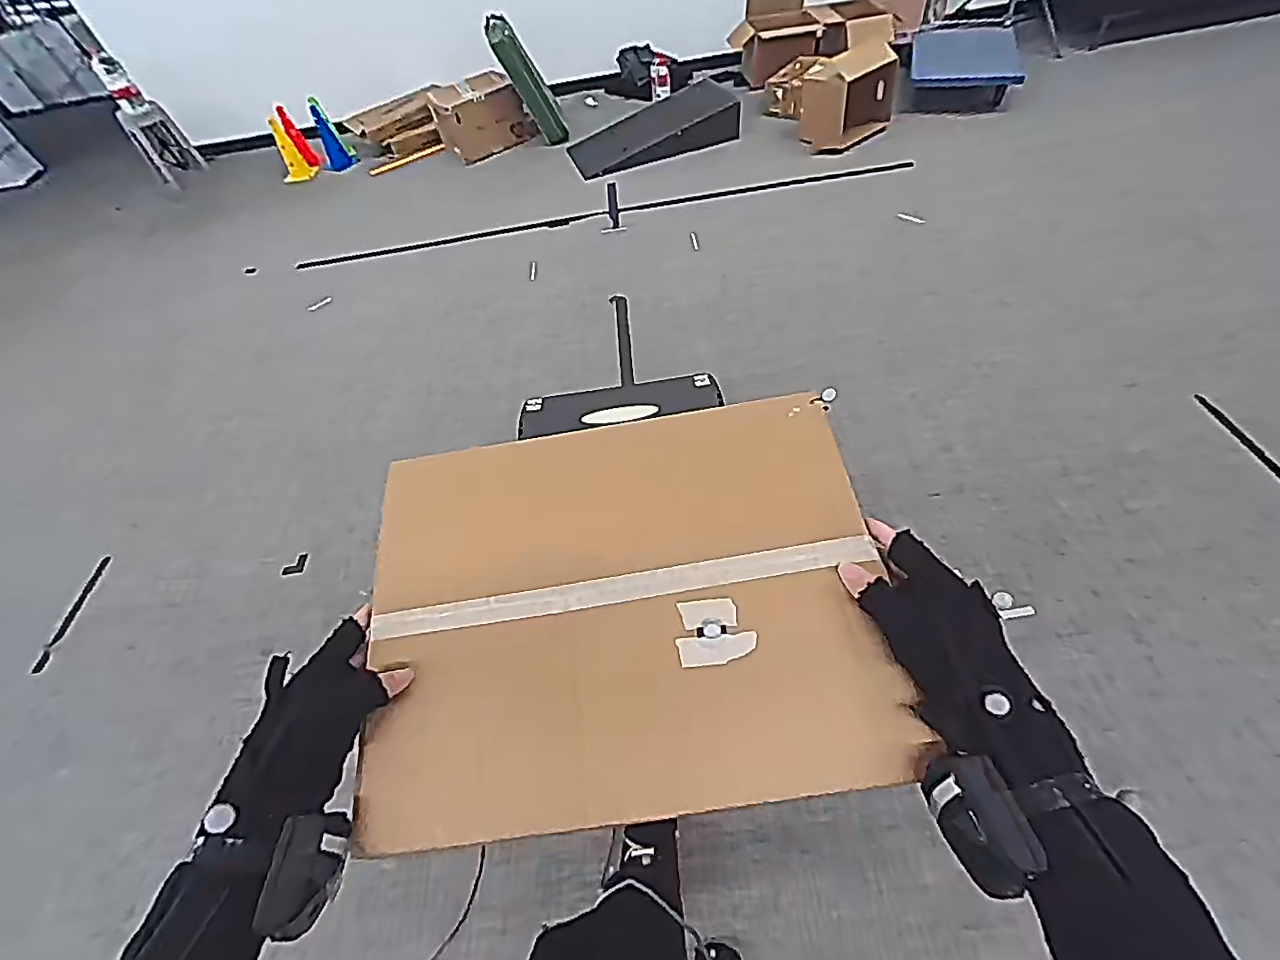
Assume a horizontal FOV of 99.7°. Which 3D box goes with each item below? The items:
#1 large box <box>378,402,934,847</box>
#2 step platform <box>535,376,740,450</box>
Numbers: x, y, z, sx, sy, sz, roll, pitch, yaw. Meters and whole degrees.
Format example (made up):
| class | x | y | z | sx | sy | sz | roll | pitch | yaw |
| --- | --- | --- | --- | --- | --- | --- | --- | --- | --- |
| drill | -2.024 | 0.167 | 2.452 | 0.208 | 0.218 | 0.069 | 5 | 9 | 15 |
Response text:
| class | x | y | z | sx | sy | sz | roll | pitch | yaw |
| --- | --- | --- | --- | --- | --- | --- | --- | --- | --- |
| large box | 0.004 | 0.161 | 0.576 | 0.408 | 0.320 | 0.320 | -9 | 62 | 2 |
| step platform | -0.005 | -0.151 | 1.810 | 0.684 | 0.204 | 0.286 | -8 | 52 | 2 |
